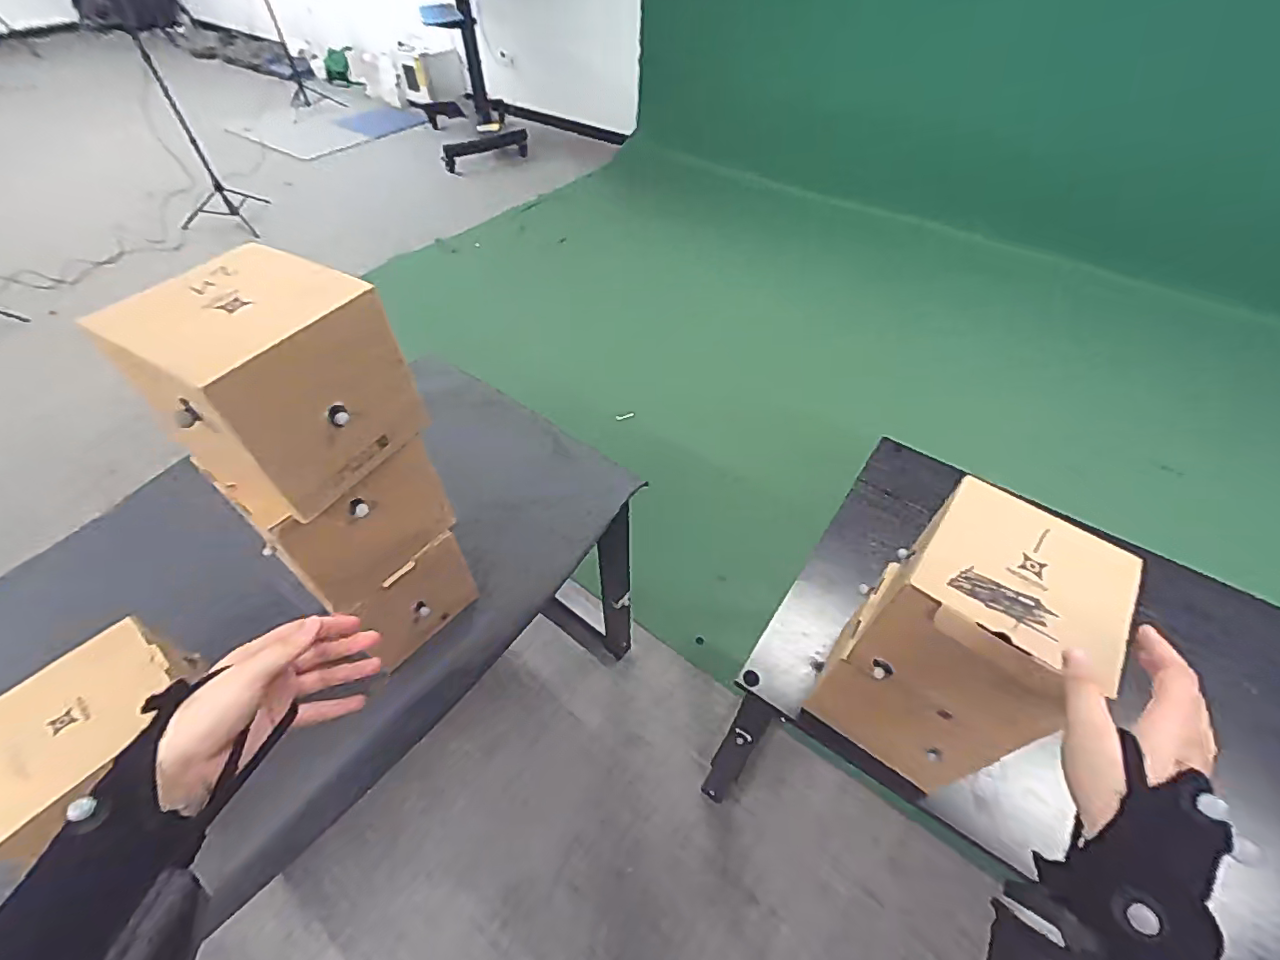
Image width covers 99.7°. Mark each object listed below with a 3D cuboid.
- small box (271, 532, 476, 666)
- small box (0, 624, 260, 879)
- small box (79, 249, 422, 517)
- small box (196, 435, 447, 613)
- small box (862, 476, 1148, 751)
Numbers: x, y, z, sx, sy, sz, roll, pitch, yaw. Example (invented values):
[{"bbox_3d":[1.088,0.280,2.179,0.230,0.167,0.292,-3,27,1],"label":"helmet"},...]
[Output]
[{"bbox_3d":[-0.359,0.134,0.761,0.179,0.176,0.168,32,57,25],"label":"small box"},{"bbox_3d":[-0.579,0.307,0.614,0.168,0.176,0.179,30,56,26],"label":"small box"},{"bbox_3d":[-0.347,-0.089,0.521,0.179,0.176,0.168,22,53,20],"label":"small box"},{"bbox_3d":[-0.355,0.020,0.644,0.168,0.176,0.179,30,56,25],"label":"small box"},{"bbox_3d":[0.350,0.137,0.548,0.168,0.176,0.179,33,56,23],"label":"small box"}]
